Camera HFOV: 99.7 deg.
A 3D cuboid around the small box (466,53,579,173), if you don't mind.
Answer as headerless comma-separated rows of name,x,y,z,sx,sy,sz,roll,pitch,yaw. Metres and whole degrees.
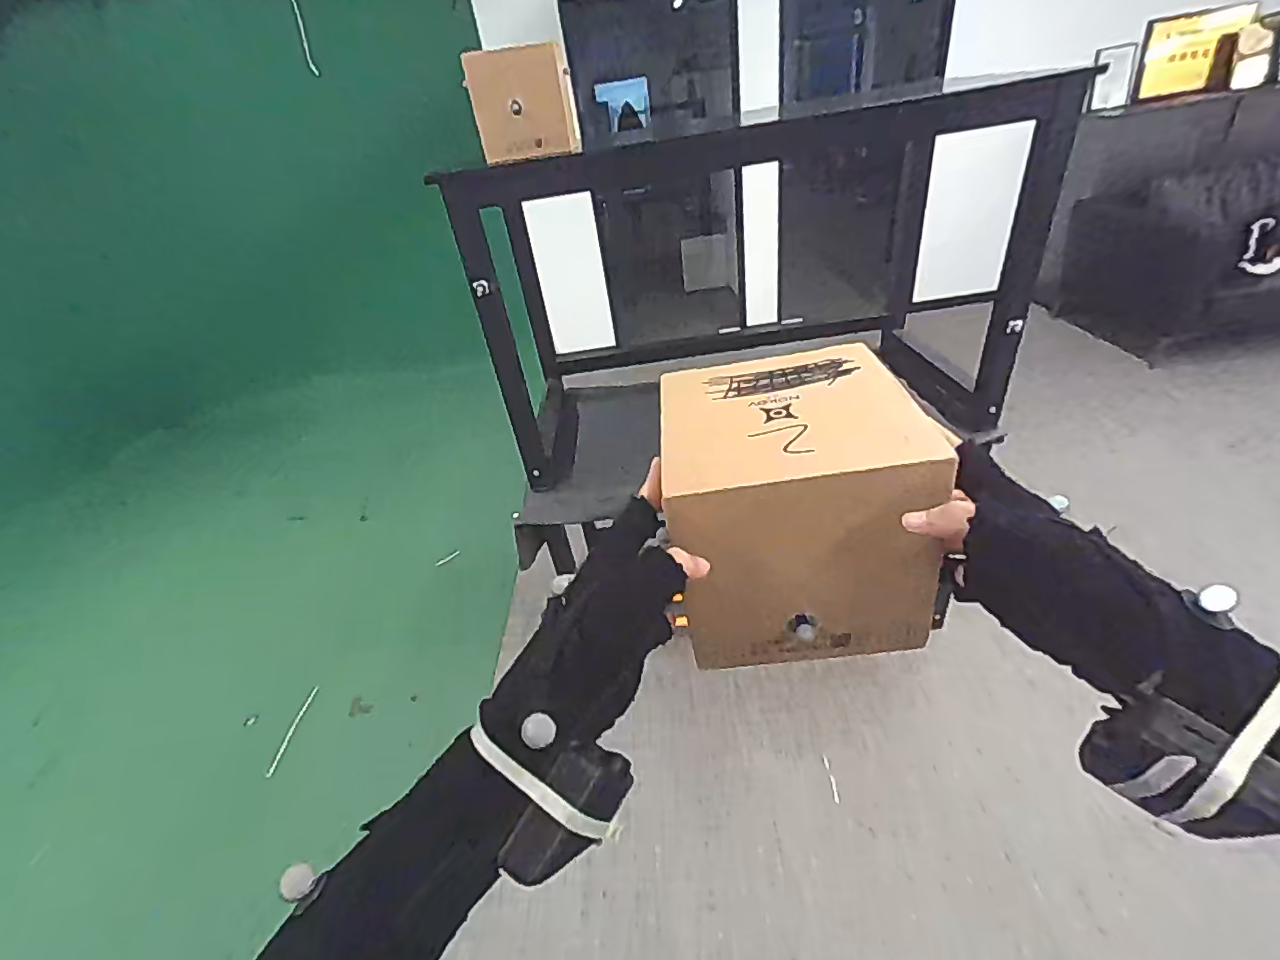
small box,-0.218,-0.708,1.055,0.168,0.176,0.179,-7,33,2
